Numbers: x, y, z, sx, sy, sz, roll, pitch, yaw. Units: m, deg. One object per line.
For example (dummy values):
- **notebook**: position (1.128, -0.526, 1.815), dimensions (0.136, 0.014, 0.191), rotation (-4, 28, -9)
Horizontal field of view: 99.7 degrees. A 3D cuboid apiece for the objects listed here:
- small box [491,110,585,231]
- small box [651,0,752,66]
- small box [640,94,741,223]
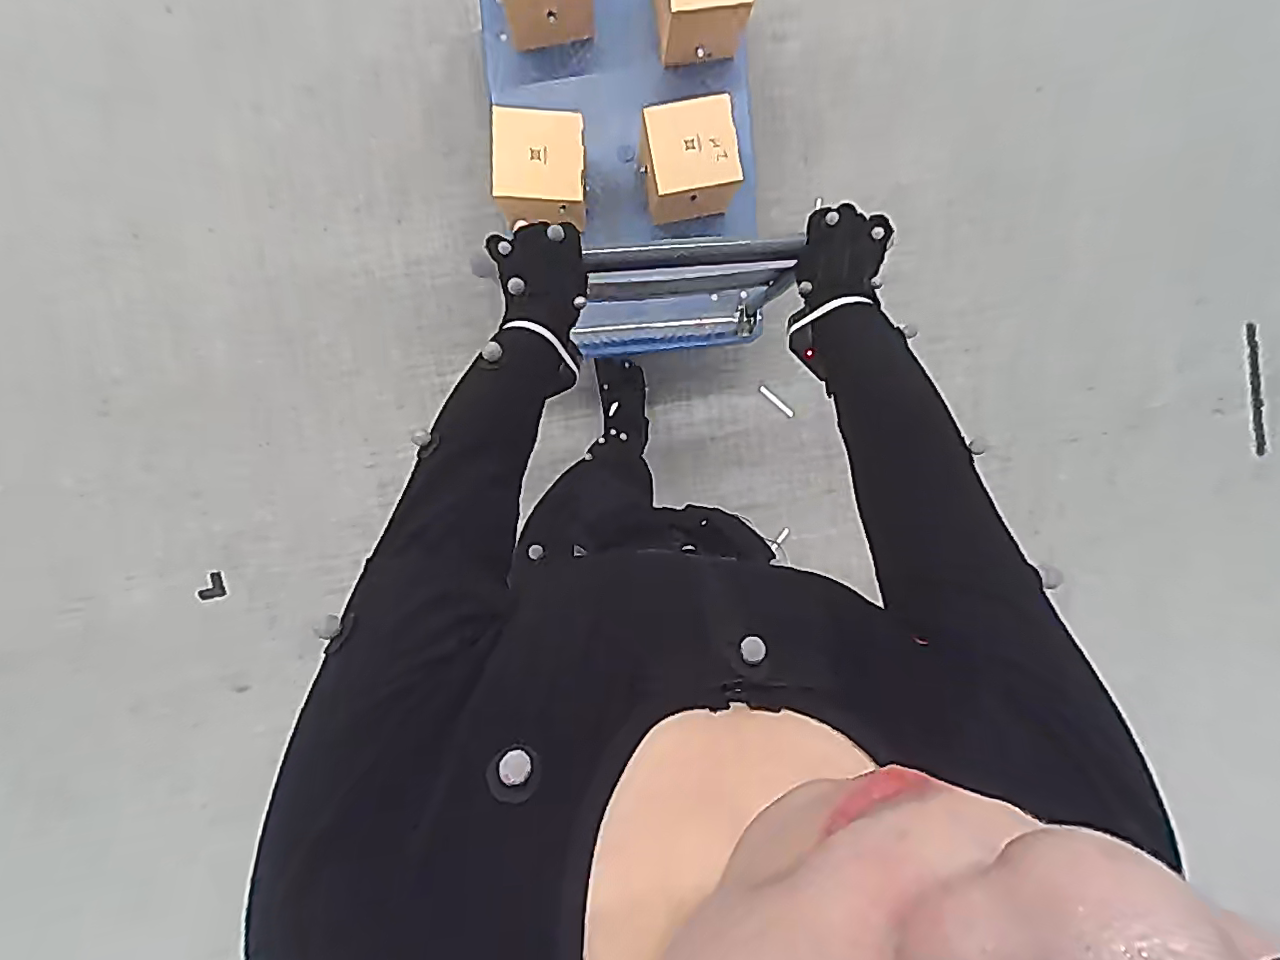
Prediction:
- **small box**: position (-0.205, -0.632, 1.123), dimensions (0.179, 0.176, 0.168), rotation (0, 96, -5)
- **small box**: position (0.117, -0.999, 1.104), dimensions (0.168, 0.176, 0.179), rotation (-10, 98, -2)
- **small box**: position (0.098, -0.664, 1.138), dimensions (0.179, 0.176, 0.168), rotation (-12, 97, -2)
